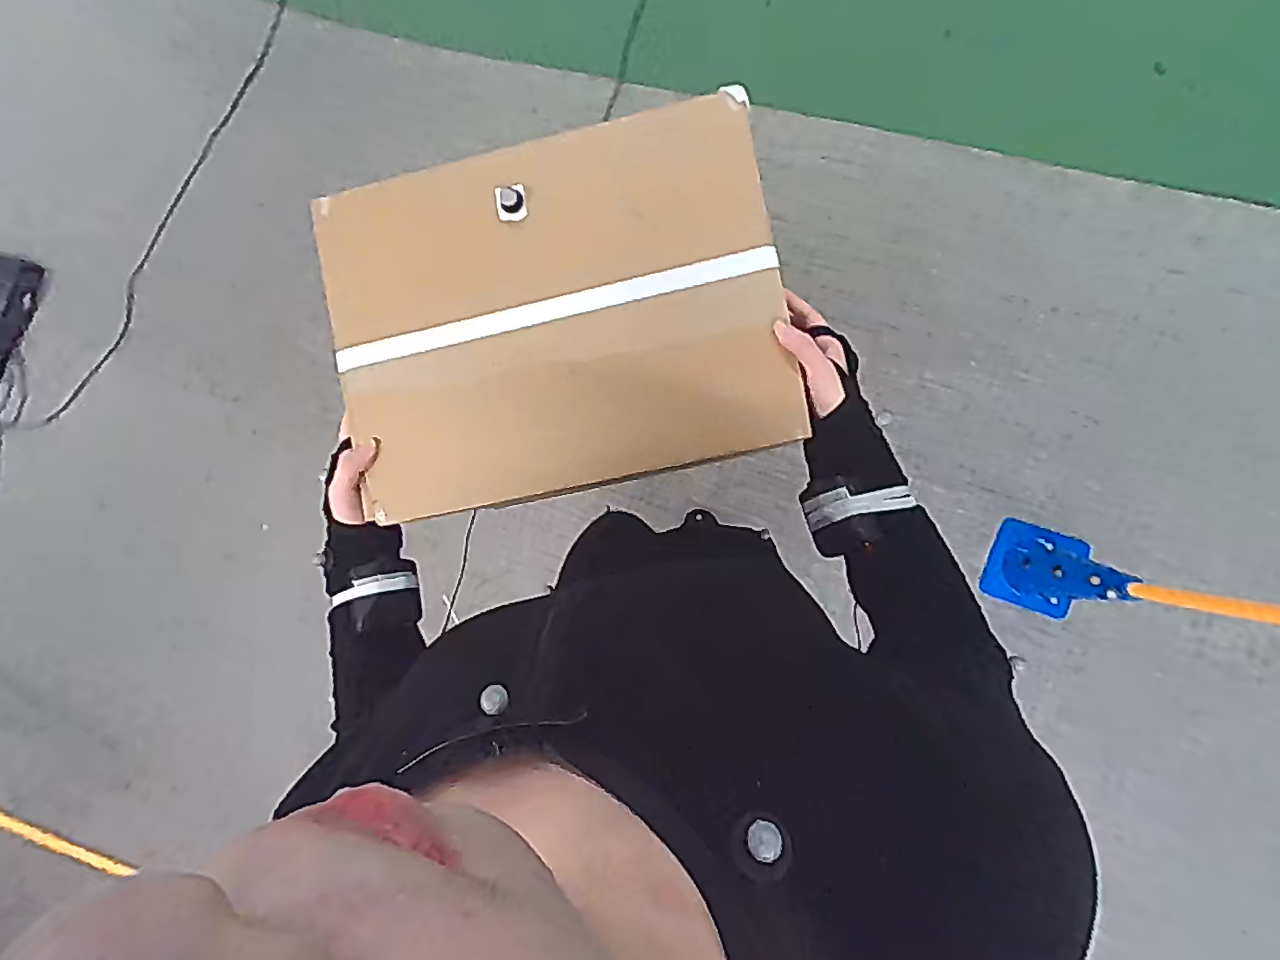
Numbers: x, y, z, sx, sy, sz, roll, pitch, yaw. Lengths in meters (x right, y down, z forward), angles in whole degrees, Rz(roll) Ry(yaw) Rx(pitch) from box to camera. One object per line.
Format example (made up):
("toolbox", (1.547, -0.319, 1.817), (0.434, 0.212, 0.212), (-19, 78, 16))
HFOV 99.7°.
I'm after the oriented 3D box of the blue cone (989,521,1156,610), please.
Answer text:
("blue cone", (0.927, 0.197, 1.136), (0.193, 0.380, 0.192), (17, 91, 10))
